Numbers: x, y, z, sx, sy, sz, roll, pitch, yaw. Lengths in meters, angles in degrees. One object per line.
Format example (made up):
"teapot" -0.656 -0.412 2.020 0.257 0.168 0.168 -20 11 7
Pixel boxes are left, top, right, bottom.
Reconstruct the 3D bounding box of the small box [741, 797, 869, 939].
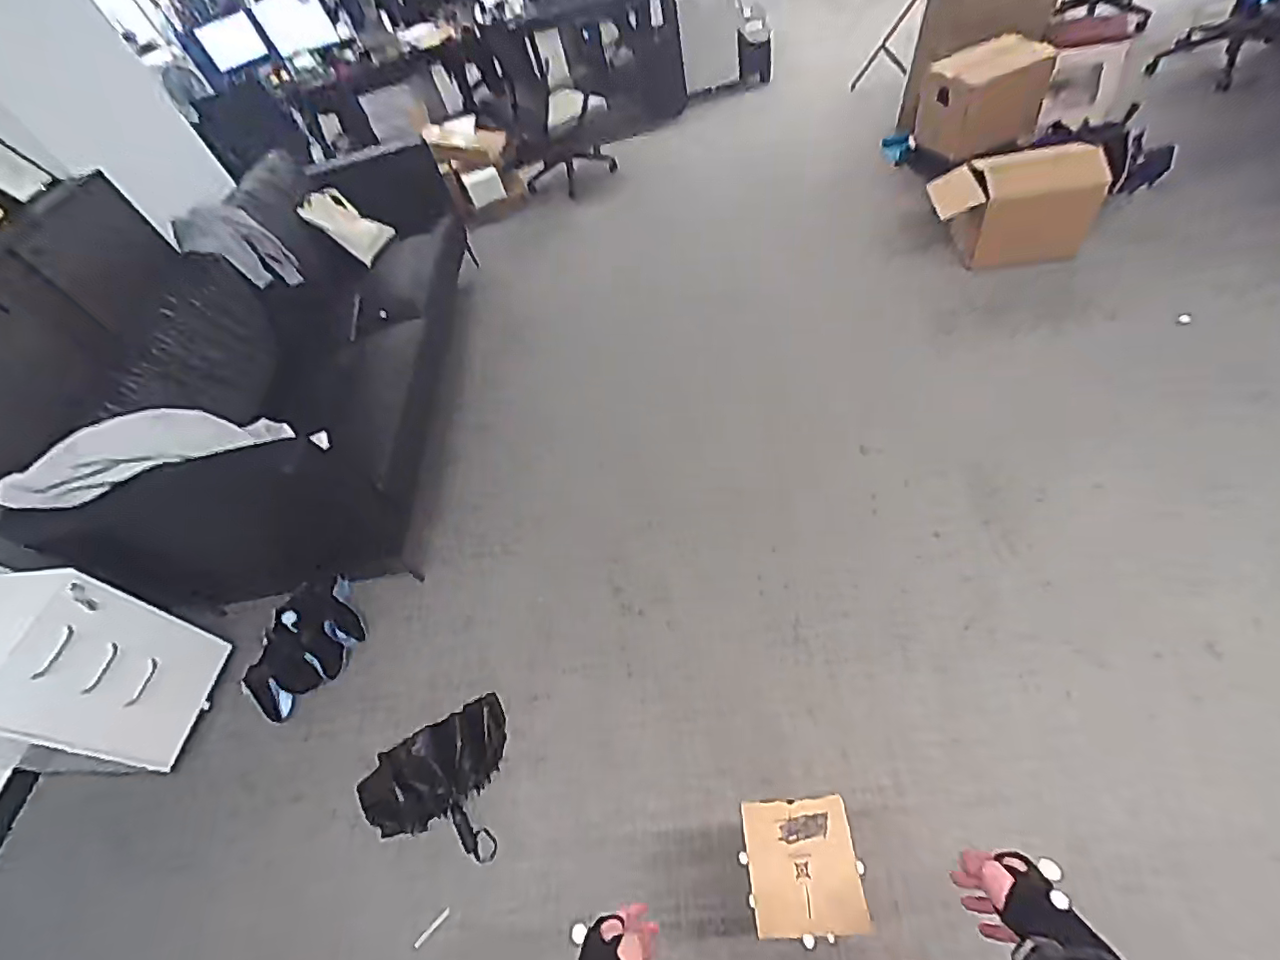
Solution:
"small box" 0.264 0.647 0.904 0.168 0.176 0.179 -9 53 7
